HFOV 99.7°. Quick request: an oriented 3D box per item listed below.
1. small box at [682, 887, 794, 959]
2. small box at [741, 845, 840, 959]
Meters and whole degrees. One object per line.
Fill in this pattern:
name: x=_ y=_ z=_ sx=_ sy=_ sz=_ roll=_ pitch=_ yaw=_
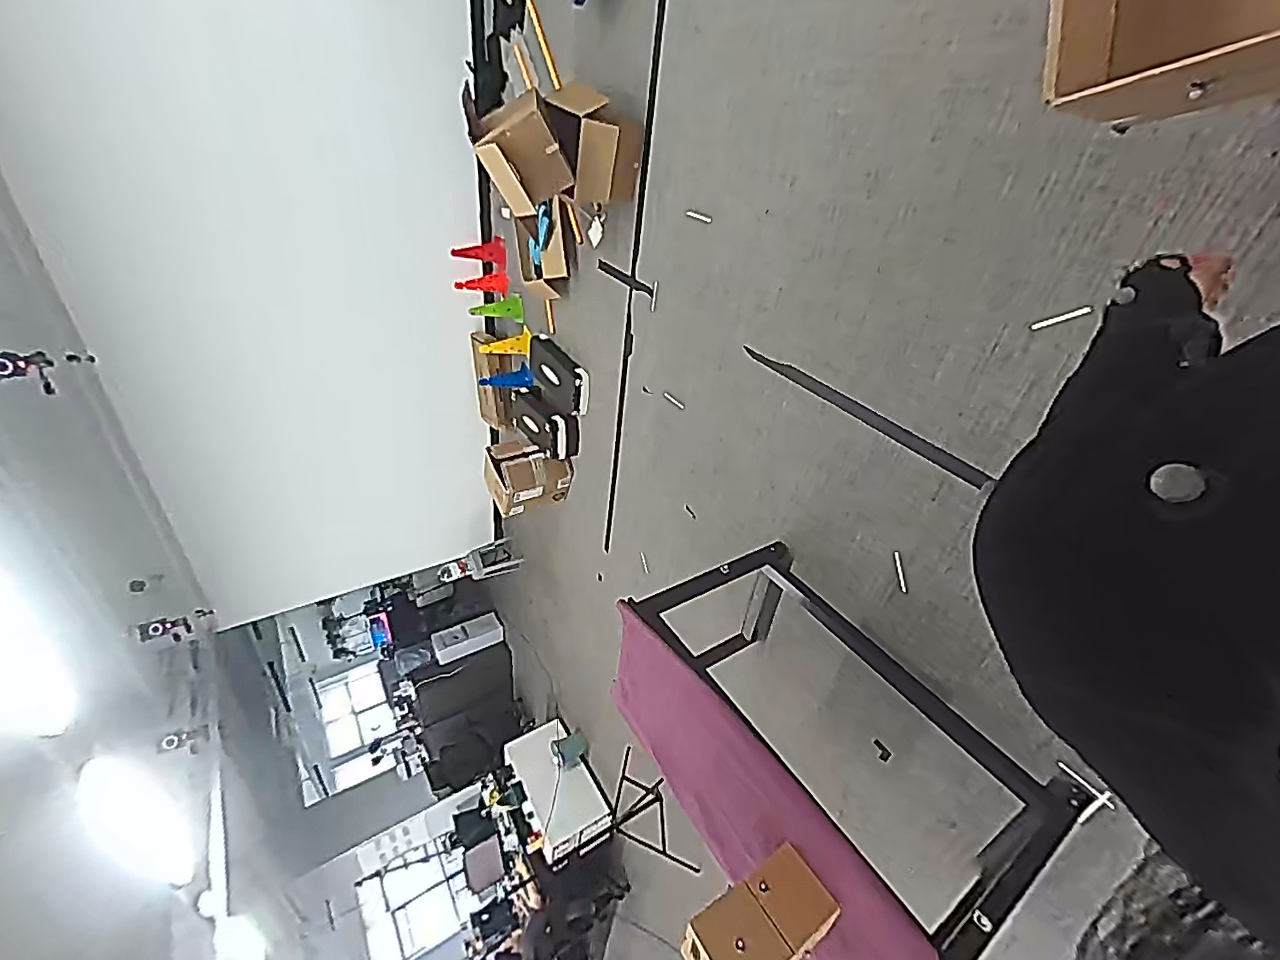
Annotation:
small box: x=0.222 y=1.090 z=1.248 sx=0.179 sy=0.176 sz=0.168 roll=41 pitch=137 yaw=43
small box: x=0.360 y=1.056 z=1.332 sx=0.179 sy=0.176 sz=0.168 roll=42 pitch=137 yaw=44
